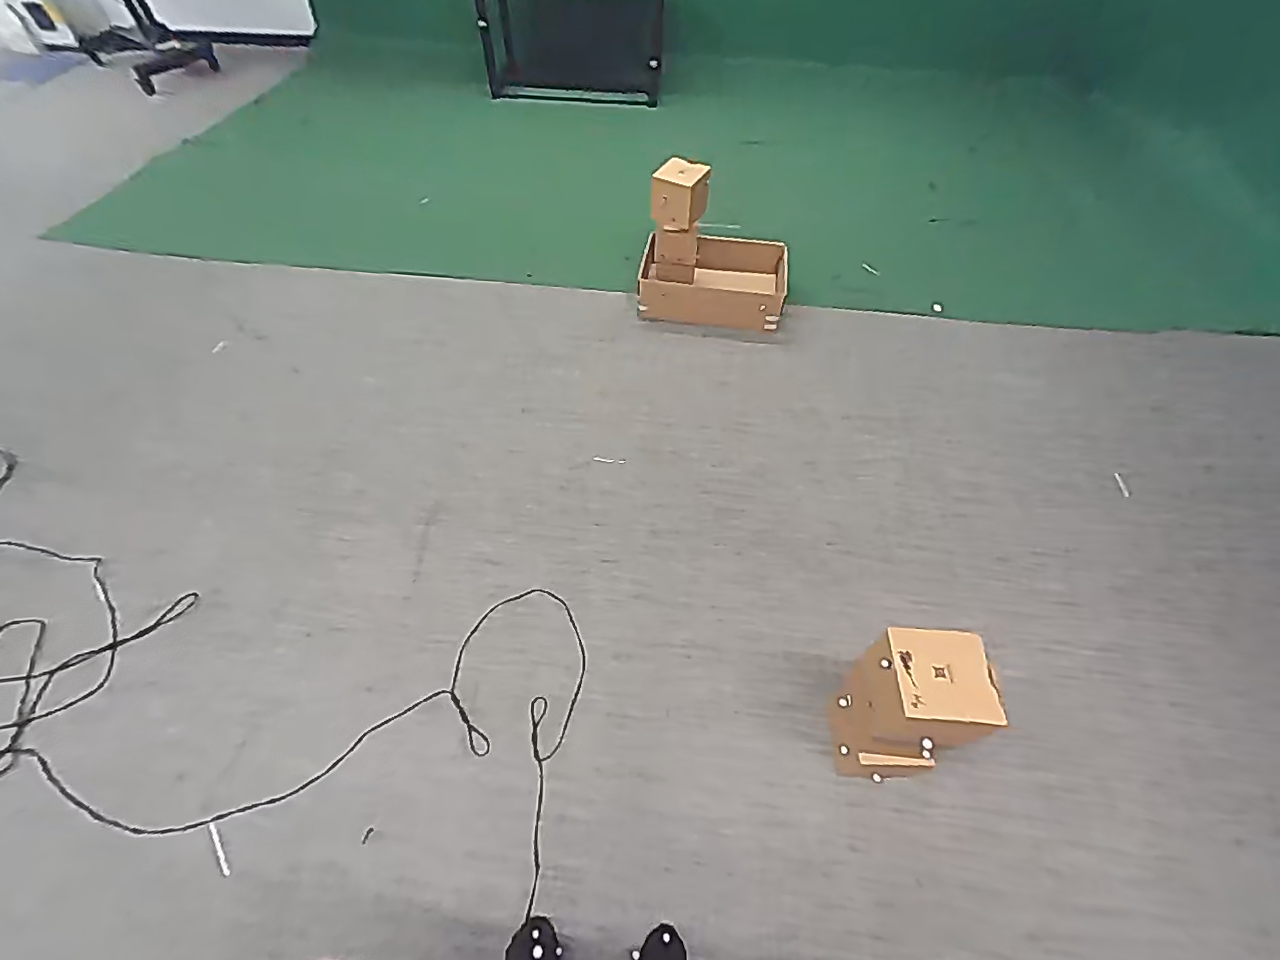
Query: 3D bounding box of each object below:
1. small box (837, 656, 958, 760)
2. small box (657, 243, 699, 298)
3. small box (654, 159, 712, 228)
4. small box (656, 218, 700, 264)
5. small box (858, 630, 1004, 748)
[{"bbox_3d":[0.550,0.500,1.176,0.179,0.176,0.168,4,52,3],"label":"small box"},{"bbox_3d":[0.163,-0.926,2.368,0.168,0.176,0.179,6,54,3],"label":"small box"},{"bbox_3d":[0.164,-1.106,2.095,0.168,0.176,0.179,25,56,16],"label":"small box"},{"bbox_3d":[0.159,-1.016,2.230,0.168,0.176,0.179,7,53,3],"label":"small box"},{"bbox_3d":[0.546,0.406,1.041,0.179,0.176,0.168,5,52,2],"label":"small box"}]
